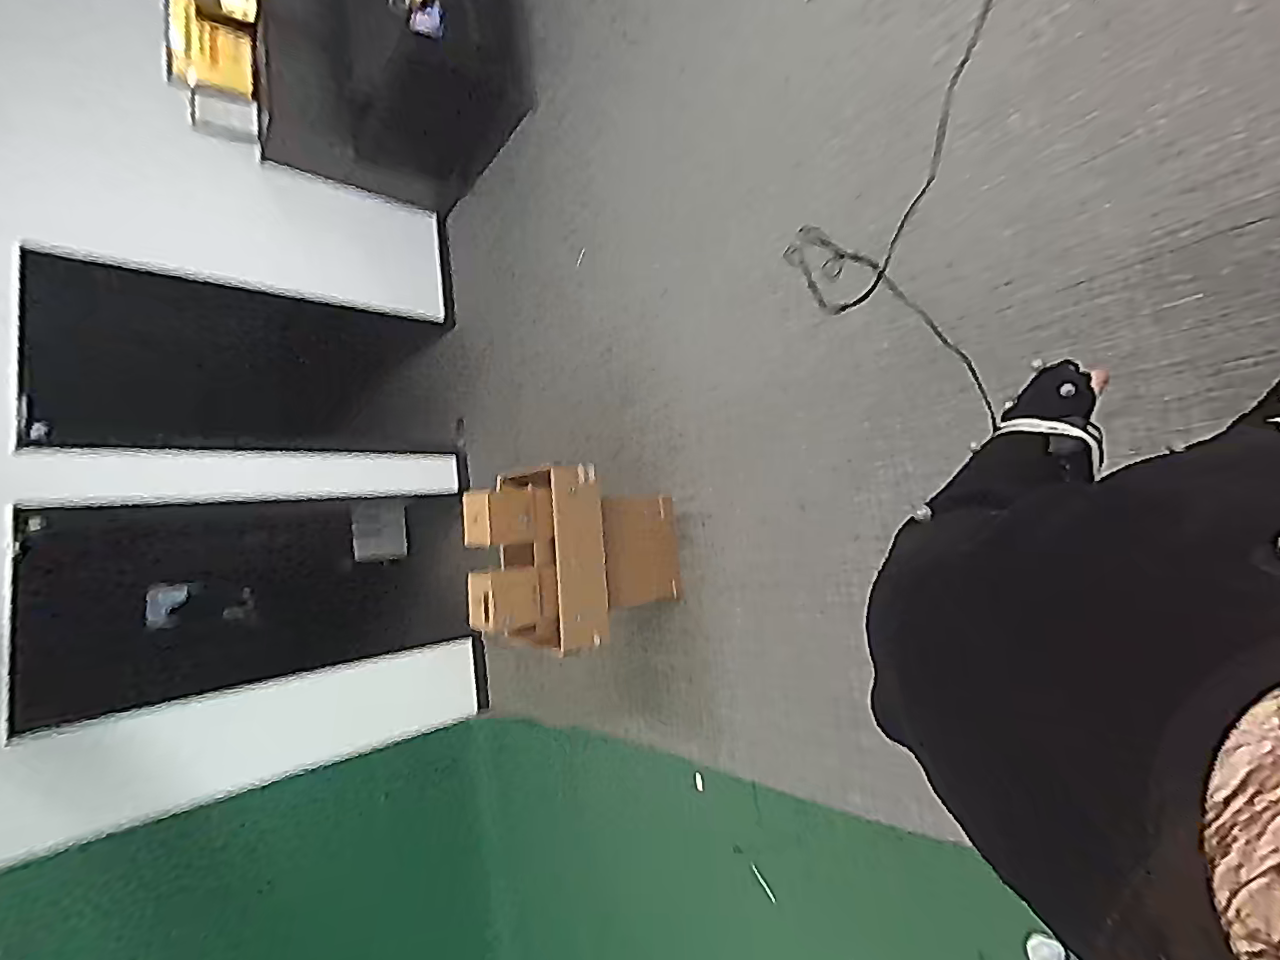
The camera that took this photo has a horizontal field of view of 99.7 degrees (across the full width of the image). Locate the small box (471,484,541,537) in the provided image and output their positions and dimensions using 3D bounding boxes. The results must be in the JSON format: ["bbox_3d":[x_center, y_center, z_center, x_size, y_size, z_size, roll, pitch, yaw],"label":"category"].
[{"bbox_3d":[-0.445,0.098,1.791,0.179,0.176,0.168,-4,89,48],"label":"small box"}]
